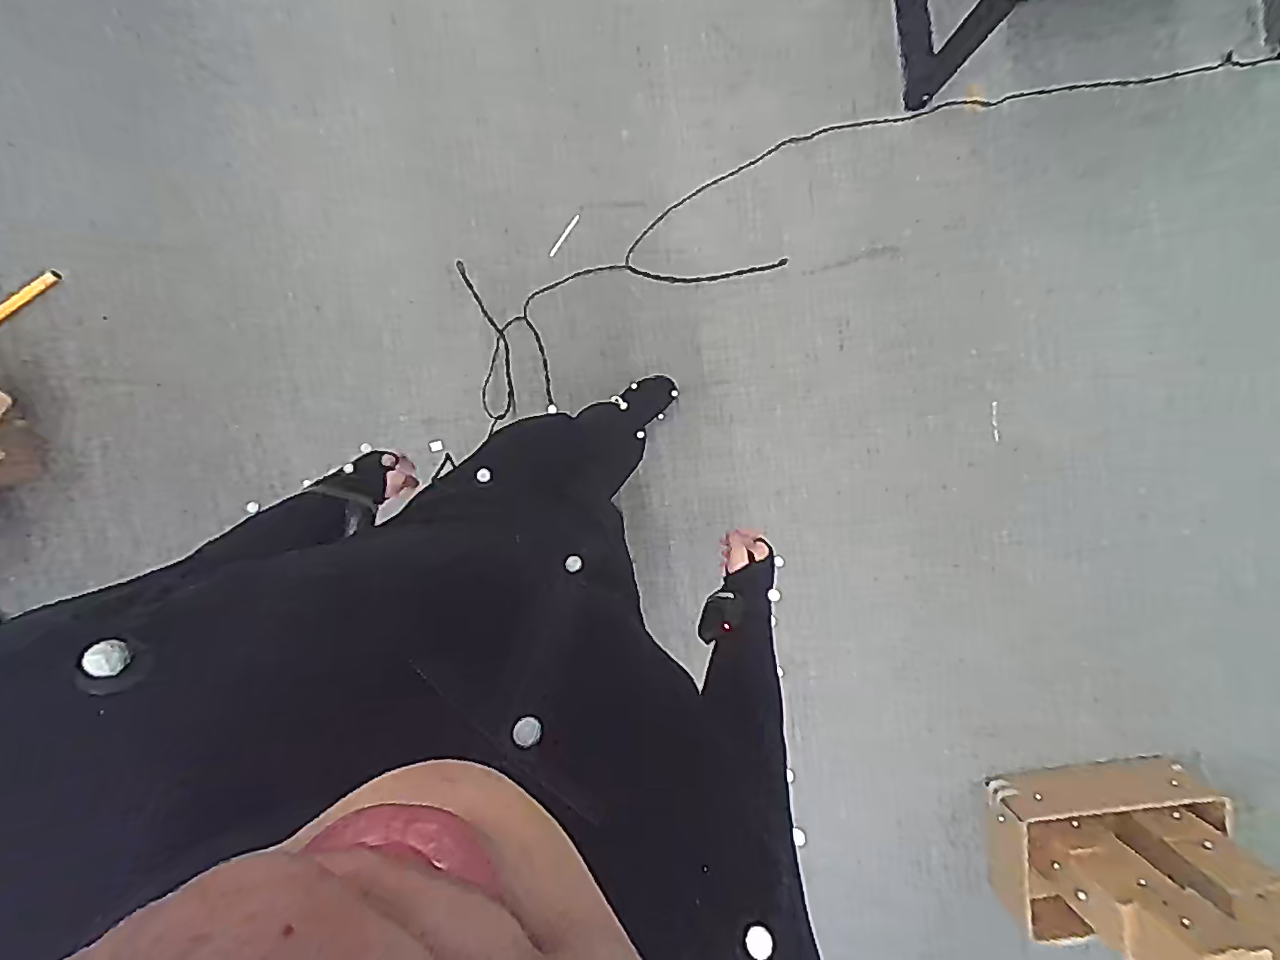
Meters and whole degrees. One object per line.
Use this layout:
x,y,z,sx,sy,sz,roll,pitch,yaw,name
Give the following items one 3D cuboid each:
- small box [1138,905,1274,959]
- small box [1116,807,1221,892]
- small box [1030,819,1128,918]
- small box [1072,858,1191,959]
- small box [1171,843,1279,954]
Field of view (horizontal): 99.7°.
1.329,1.149,1.277,0.168,0.176,0.179,-4,94,-2,small box
1.575,1.109,1.613,0.168,0.176,0.179,-8,93,-1,small box
1.297,1.139,1.604,0.168,0.176,0.179,-5,94,-2,small box
1.305,1.149,1.438,0.179,0.176,0.168,-9,93,-2,small box
1.579,1.116,1.447,0.179,0.176,0.168,-8,95,0,small box
